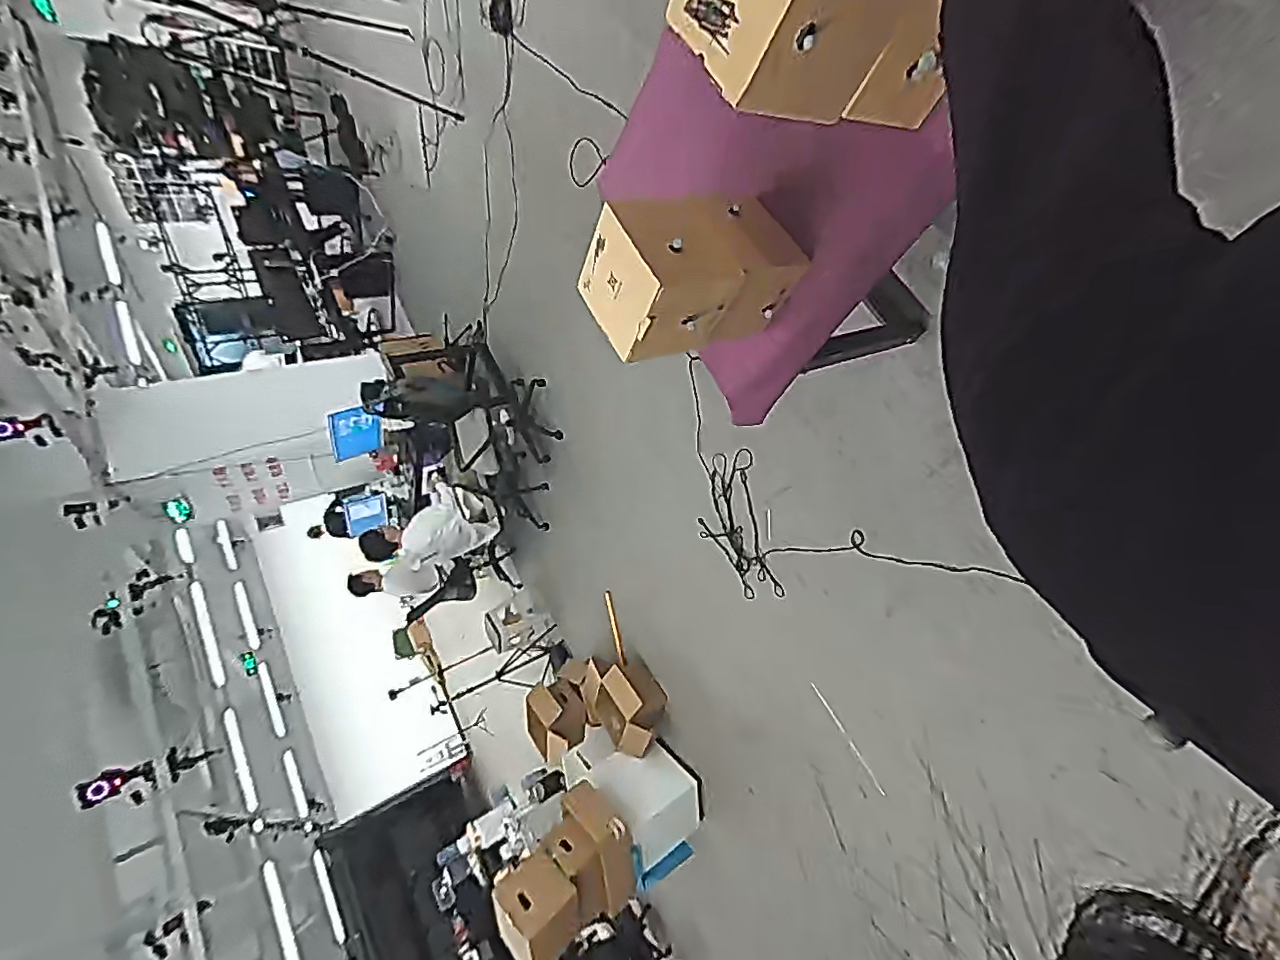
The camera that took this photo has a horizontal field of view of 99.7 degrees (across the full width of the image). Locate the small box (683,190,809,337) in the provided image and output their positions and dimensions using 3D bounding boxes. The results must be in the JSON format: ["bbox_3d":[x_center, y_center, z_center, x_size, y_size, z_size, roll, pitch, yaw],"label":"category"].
[{"bbox_3d":[0.156,-0.380,0.952,0.179,0.176,0.168,58,147,18],"label":"small box"}]

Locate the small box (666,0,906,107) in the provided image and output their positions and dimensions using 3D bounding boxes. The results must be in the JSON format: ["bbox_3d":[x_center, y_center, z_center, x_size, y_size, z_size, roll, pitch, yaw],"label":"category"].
[{"bbox_3d":[0.160,-0.522,0.557,0.168,0.176,0.179,62,147,16],"label":"small box"}]

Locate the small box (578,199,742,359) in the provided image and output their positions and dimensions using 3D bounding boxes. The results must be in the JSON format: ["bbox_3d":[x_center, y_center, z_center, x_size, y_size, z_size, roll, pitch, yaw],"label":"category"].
[{"bbox_3d":[0.030,-0.325,0.863,0.179,0.176,0.168,59,147,17],"label":"small box"}]

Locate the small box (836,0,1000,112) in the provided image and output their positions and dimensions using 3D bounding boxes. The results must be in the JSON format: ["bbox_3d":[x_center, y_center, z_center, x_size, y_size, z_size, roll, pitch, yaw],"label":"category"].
[{"bbox_3d":[0.294,-0.570,0.642,0.179,0.176,0.168,60,147,20],"label":"small box"}]
